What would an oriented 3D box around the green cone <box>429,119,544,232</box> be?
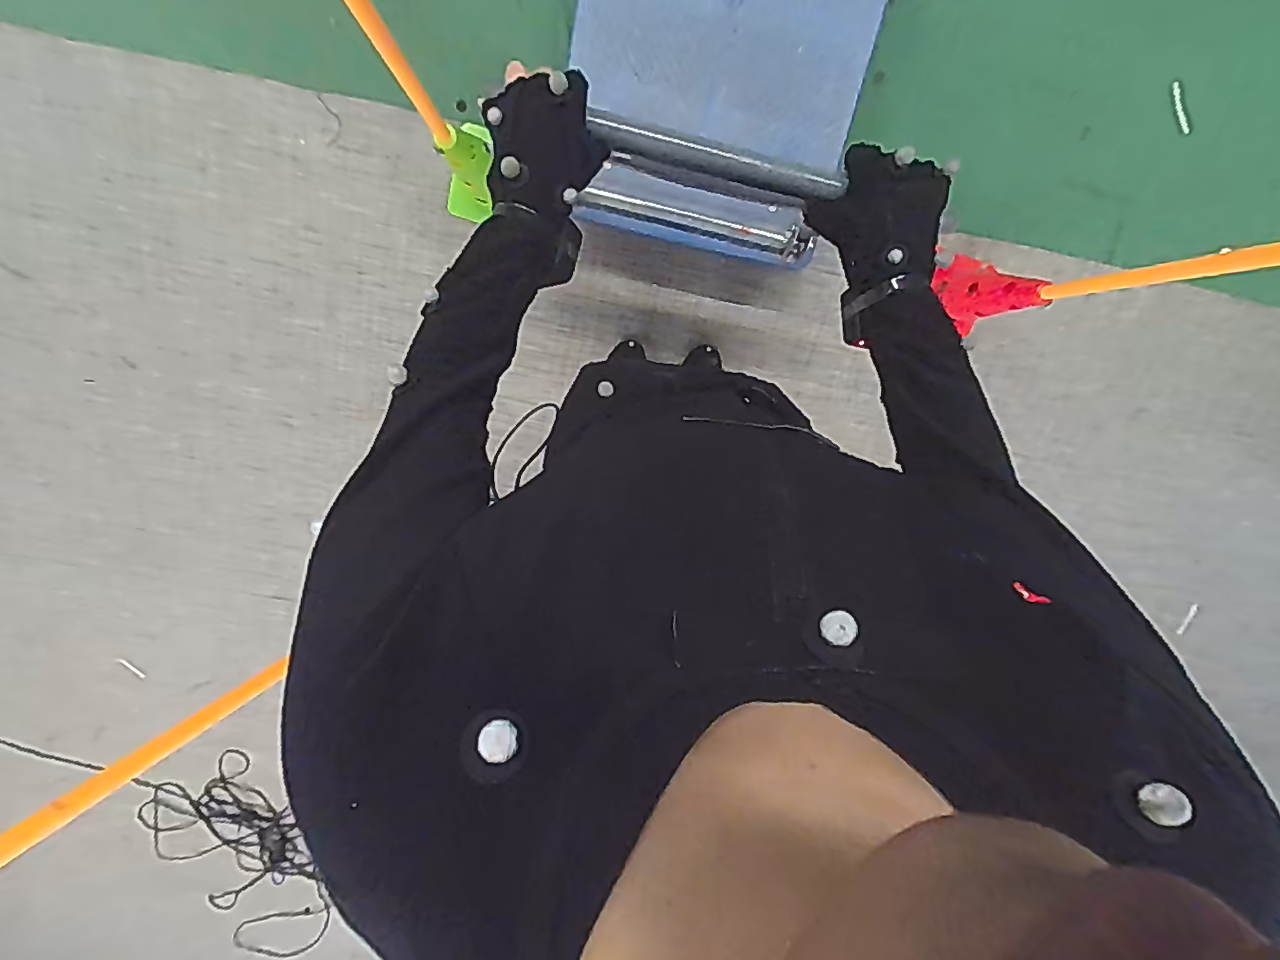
[{"bbox_3d":[-0.341,-0.663,1.112,0.202,0.368,0.200,15,106,-4],"label":"green cone"}]
